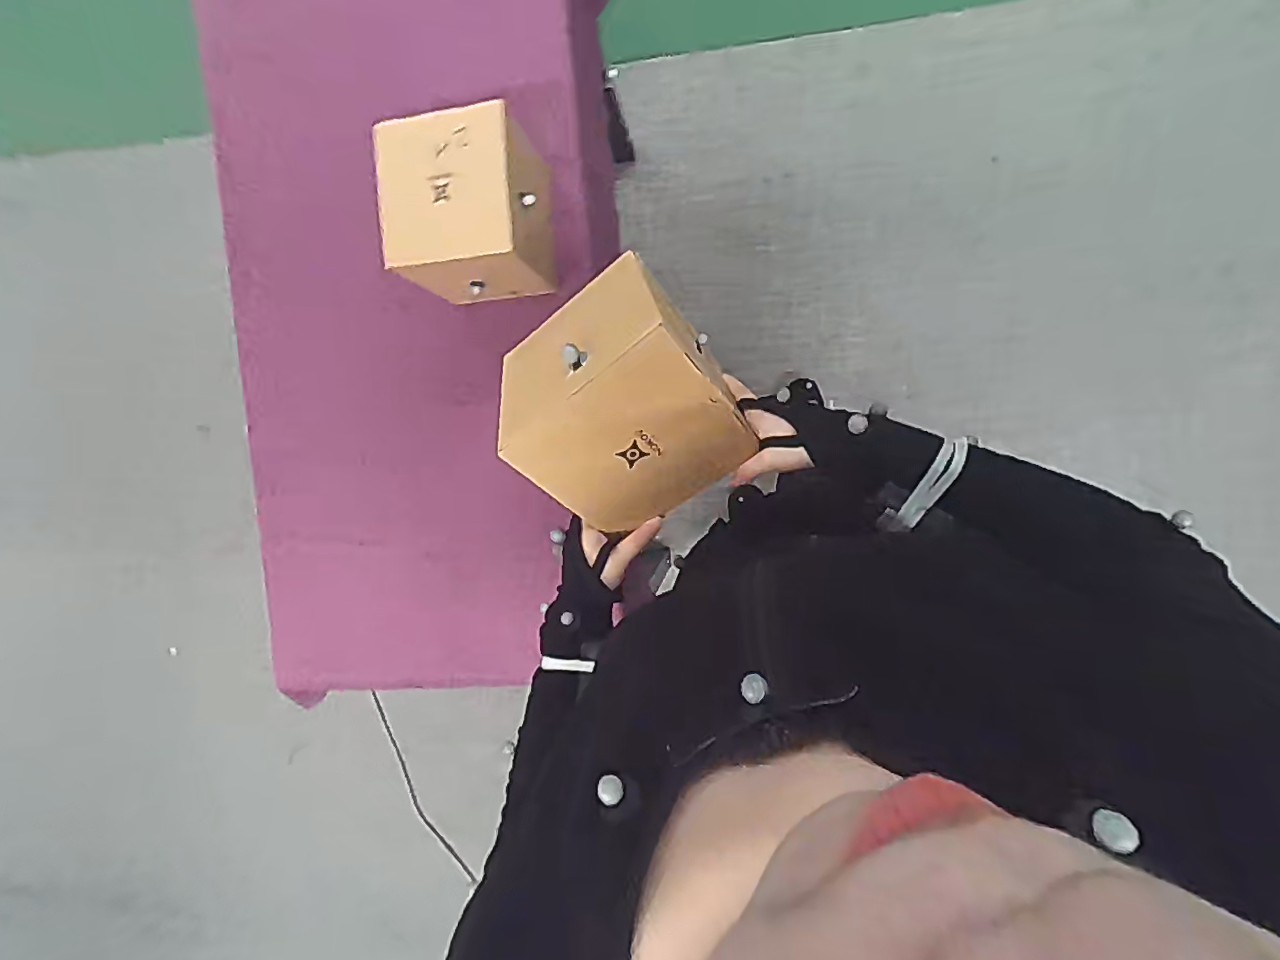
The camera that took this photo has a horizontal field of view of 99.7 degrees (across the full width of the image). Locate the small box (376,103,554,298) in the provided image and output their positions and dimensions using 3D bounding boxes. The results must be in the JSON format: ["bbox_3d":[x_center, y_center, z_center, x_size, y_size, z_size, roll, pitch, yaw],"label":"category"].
[{"bbox_3d":[-0.220,-0.351,0.720,0.168,0.176,0.179,-3,93,10],"label":"small box"}]

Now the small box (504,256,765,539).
[{"bbox_3d":[-0.010,-0.081,0.531,0.179,0.176,0.168,-34,128,17],"label":"small box"}]
